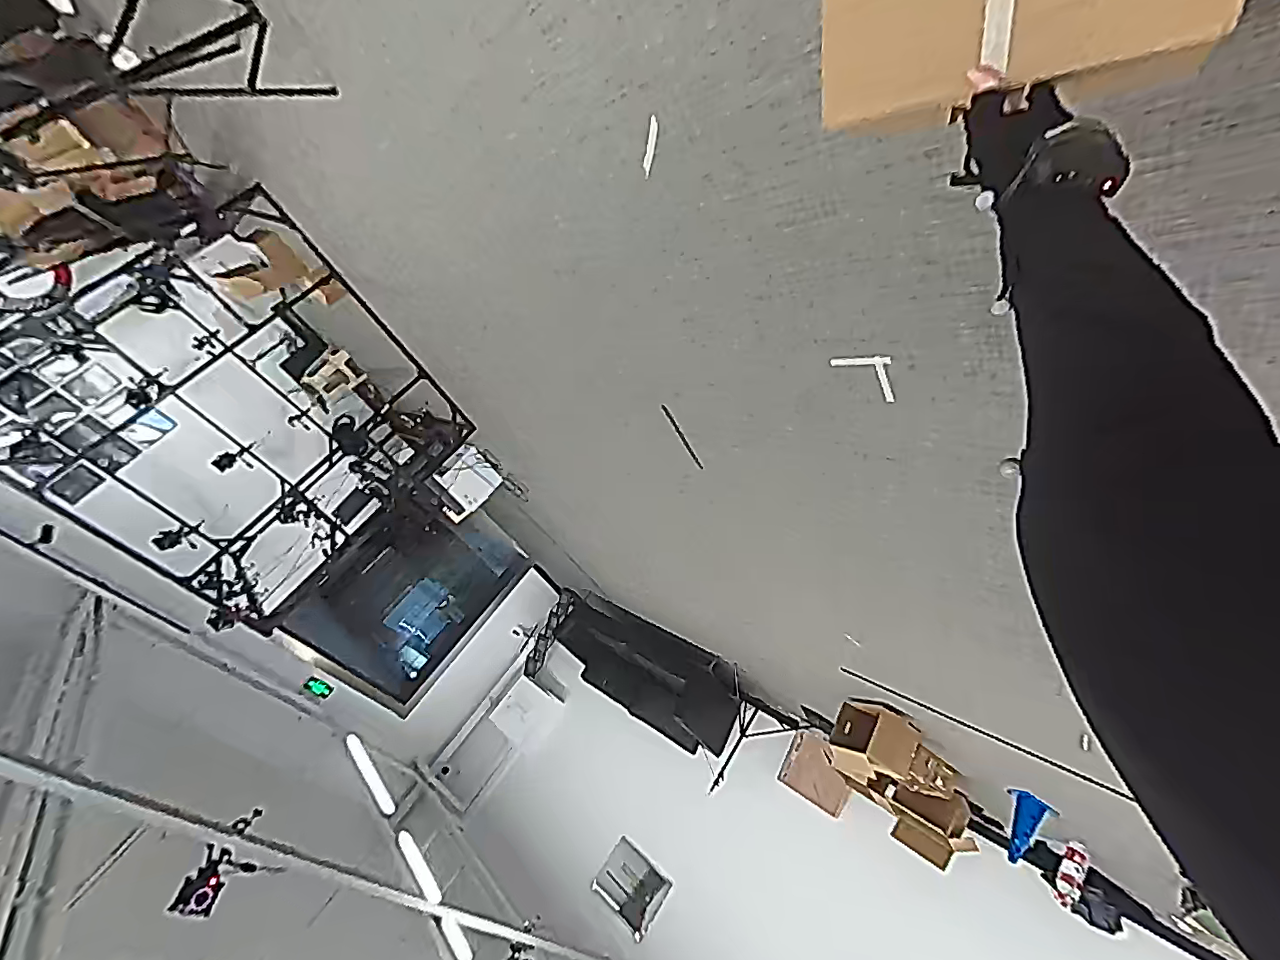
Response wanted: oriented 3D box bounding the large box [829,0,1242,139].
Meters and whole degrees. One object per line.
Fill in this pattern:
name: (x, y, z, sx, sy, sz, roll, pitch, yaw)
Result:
large box: (0.392, -0.602, 0.525, 0.320, 0.320, 0.408, 10, 120, 37)
